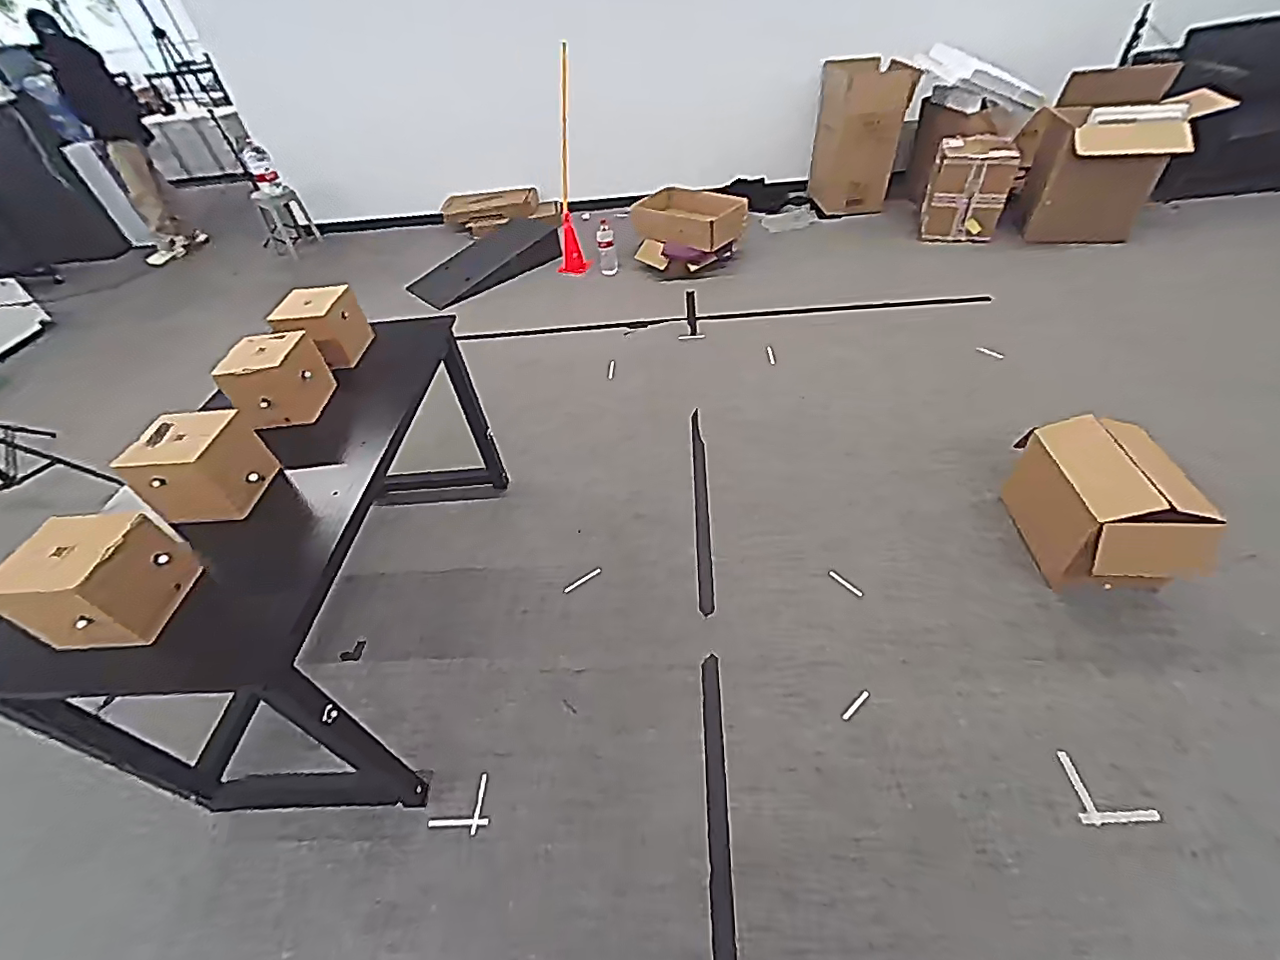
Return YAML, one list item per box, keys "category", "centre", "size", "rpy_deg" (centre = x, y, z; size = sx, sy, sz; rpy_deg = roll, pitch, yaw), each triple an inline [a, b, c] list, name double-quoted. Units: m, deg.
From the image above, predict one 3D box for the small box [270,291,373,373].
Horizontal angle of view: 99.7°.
- category: "small box"
  centre: [-0.902, -0.419, 1.553]
  size: [0.168, 0.176, 0.179]
  rpy_deg: [-3, 45, 4]

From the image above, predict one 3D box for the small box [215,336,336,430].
- category: "small box"
  centre: [-0.913, -0.241, 1.375]
  size: [0.168, 0.176, 0.179]
  rpy_deg: [-6, 45, 1]

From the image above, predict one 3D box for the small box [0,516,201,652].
- category: "small box"
  centre: [-0.936, 0.184, 0.944]
  size: [0.179, 0.176, 0.168]
  rpy_deg: [-5, 43, 3]

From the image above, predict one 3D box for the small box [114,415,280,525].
- category: "small box"
  centre: [-0.923, -0.018, 1.148]
  size: [0.179, 0.176, 0.168]
  rpy_deg: [-3, 44, 3]
